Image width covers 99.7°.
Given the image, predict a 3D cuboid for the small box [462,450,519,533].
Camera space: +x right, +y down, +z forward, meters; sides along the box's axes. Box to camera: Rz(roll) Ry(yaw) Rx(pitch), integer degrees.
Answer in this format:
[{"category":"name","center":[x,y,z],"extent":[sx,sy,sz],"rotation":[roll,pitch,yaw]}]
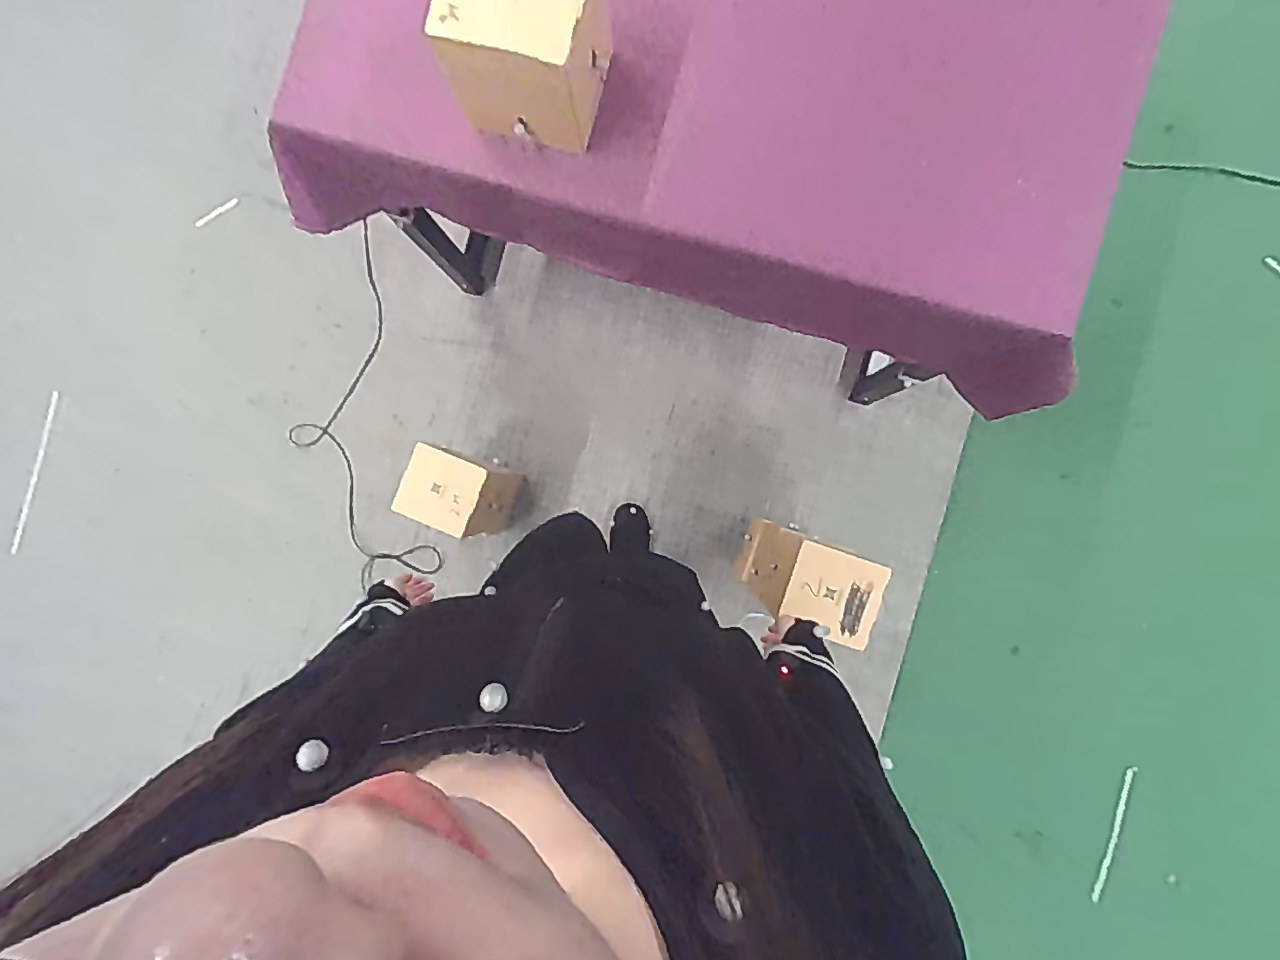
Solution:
[{"category":"small box","center":[-0.438,0.027,1.440],"extent":[0.168,0.176,0.179],"rotation":[19,89,1]}]

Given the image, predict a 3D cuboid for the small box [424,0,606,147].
[{"category":"small box","center":[-0.148,-0.577,0.709],"extent":[0.179,0.176,0.168],"rotation":[15,89,1]}]

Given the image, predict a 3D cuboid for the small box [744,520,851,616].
[{"category":"small box","center":[0.355,0.195,1.258],"extent":[0.179,0.176,0.168],"rotation":[17,91,0]}]

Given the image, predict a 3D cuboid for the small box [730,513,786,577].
[{"category":"small box","center":[0.351,0.192,1.421],"extent":[0.179,0.176,0.168],"rotation":[20,90,1]}]

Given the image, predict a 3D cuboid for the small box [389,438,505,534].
[{"category":"small box","center":[-0.447,0.016,1.276],"extent":[0.179,0.176,0.168],"rotation":[23,90,1]}]
